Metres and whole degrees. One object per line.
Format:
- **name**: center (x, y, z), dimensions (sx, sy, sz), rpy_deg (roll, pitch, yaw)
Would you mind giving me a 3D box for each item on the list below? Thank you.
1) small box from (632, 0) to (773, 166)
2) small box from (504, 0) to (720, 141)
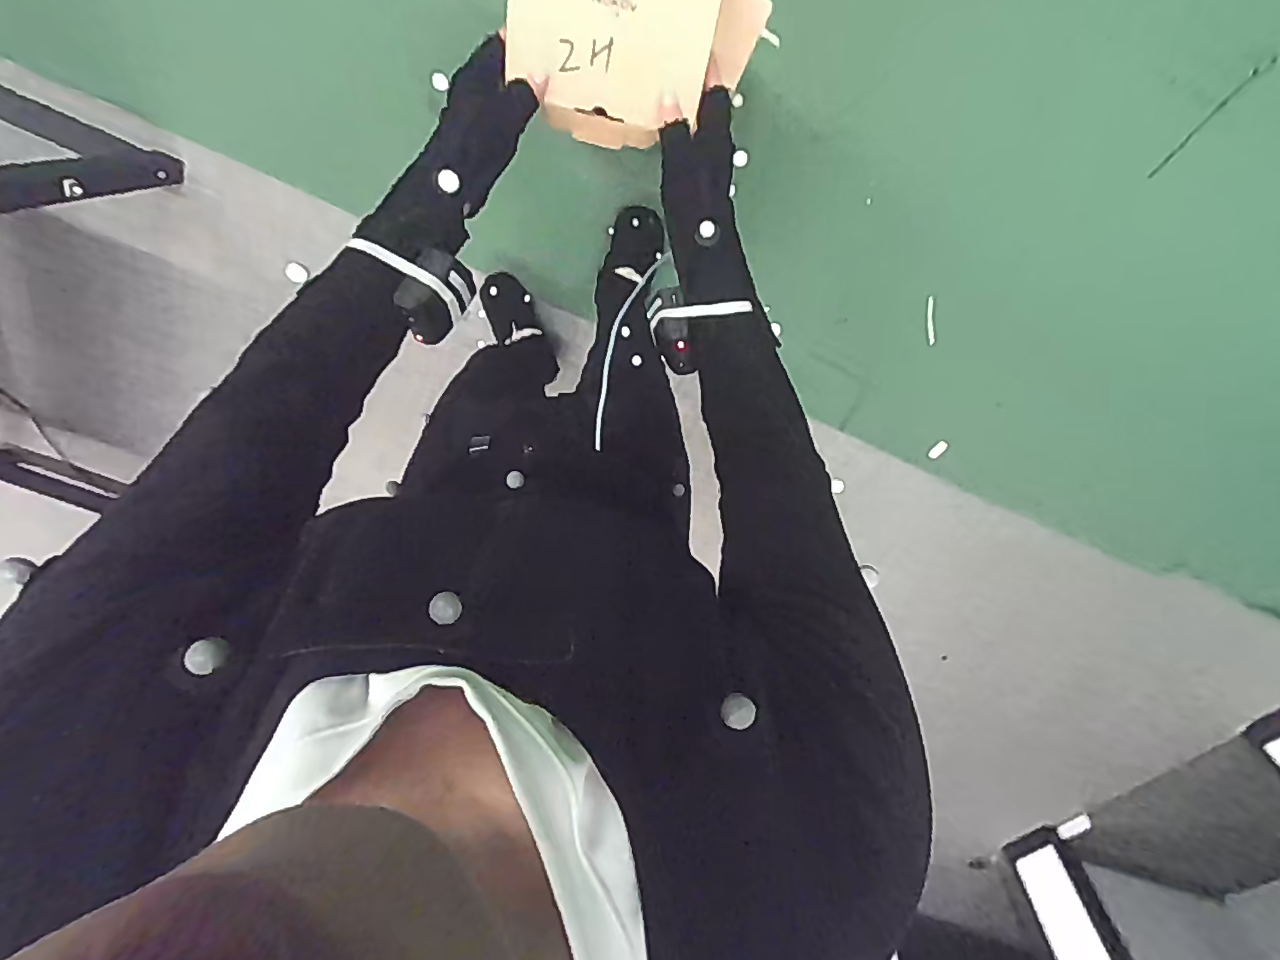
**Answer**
- **small box**: center (0.049, -0.554, 0.721), dimensions (0.168, 0.176, 0.179), rpy_deg (23, 122, -11)
- **small box**: center (-0.016, -0.429, 0.481), dimensions (0.168, 0.176, 0.179), rpy_deg (11, 128, -4)
